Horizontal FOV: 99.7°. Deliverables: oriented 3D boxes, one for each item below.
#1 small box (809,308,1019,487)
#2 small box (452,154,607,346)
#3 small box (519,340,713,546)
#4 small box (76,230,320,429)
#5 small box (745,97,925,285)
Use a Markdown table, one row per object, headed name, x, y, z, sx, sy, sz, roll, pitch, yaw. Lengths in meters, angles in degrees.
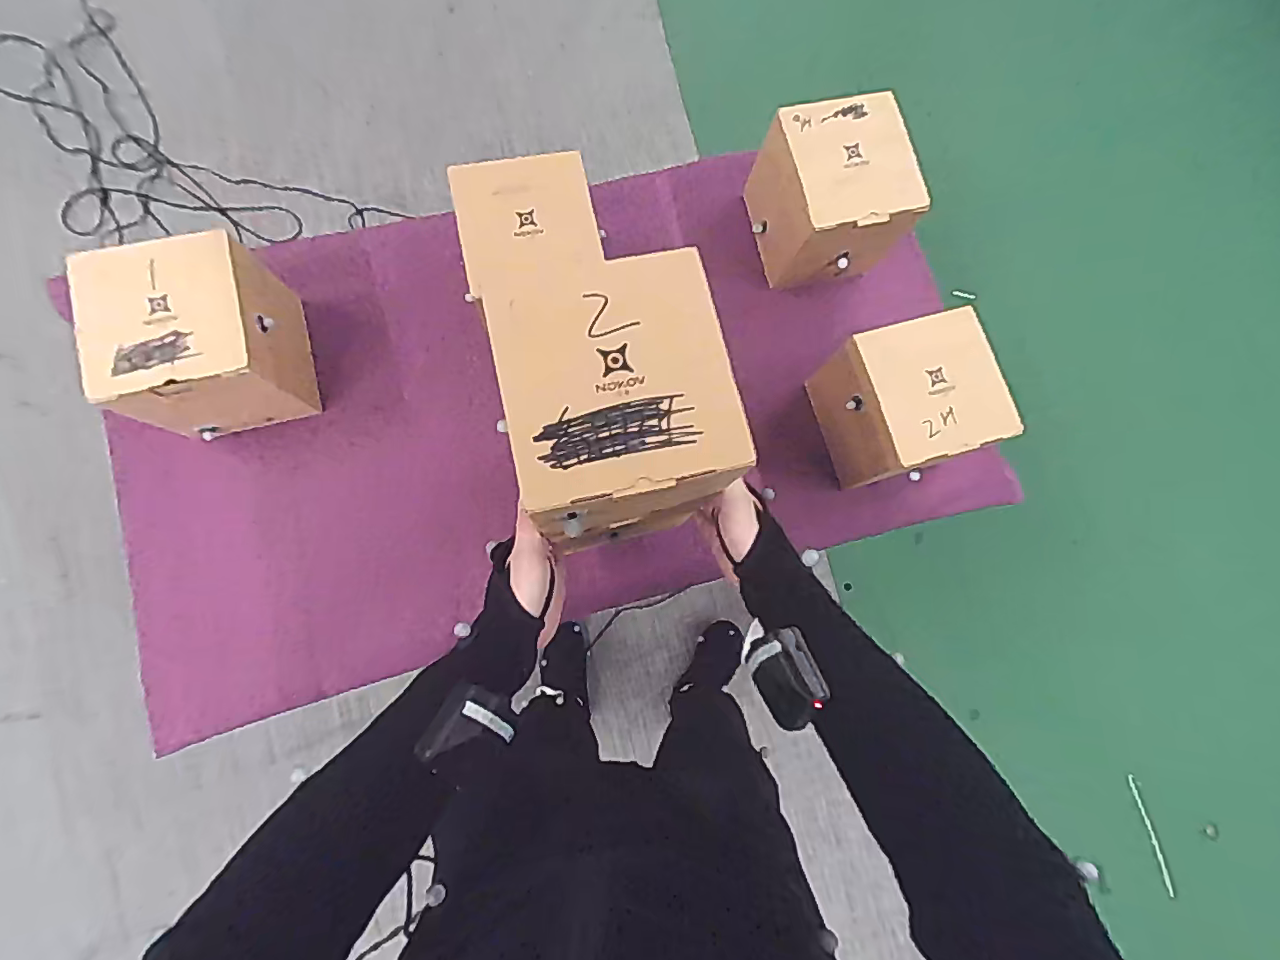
| name | x | y | z | sx | sy | sz | roll | pitch | yaw |
| --- | --- | --- | --- | --- | --- | --- | --- | --- | --- |
| small box | 0.355 | -0.102 | 0.739 | 0.168 | 0.176 | 0.179 | -15 | 81 | -6 |
| small box | -0.140 | -0.296 | 0.733 | 0.168 | 0.176 | 0.179 | -11 | 81 | -8 |
| small box | -0.034 | -0.032 | 0.620 | 0.168 | 0.176 | 0.179 | -14 | 81 | -8 |
| small box | -0.529 | -0.171 | 0.673 | 0.168 | 0.176 | 0.179 | -14 | 81 | -8 |
| small box | 0.269 | -0.403 | 0.785 | 0.168 | 0.176 | 0.179 | -13 | 85 | -7 |
